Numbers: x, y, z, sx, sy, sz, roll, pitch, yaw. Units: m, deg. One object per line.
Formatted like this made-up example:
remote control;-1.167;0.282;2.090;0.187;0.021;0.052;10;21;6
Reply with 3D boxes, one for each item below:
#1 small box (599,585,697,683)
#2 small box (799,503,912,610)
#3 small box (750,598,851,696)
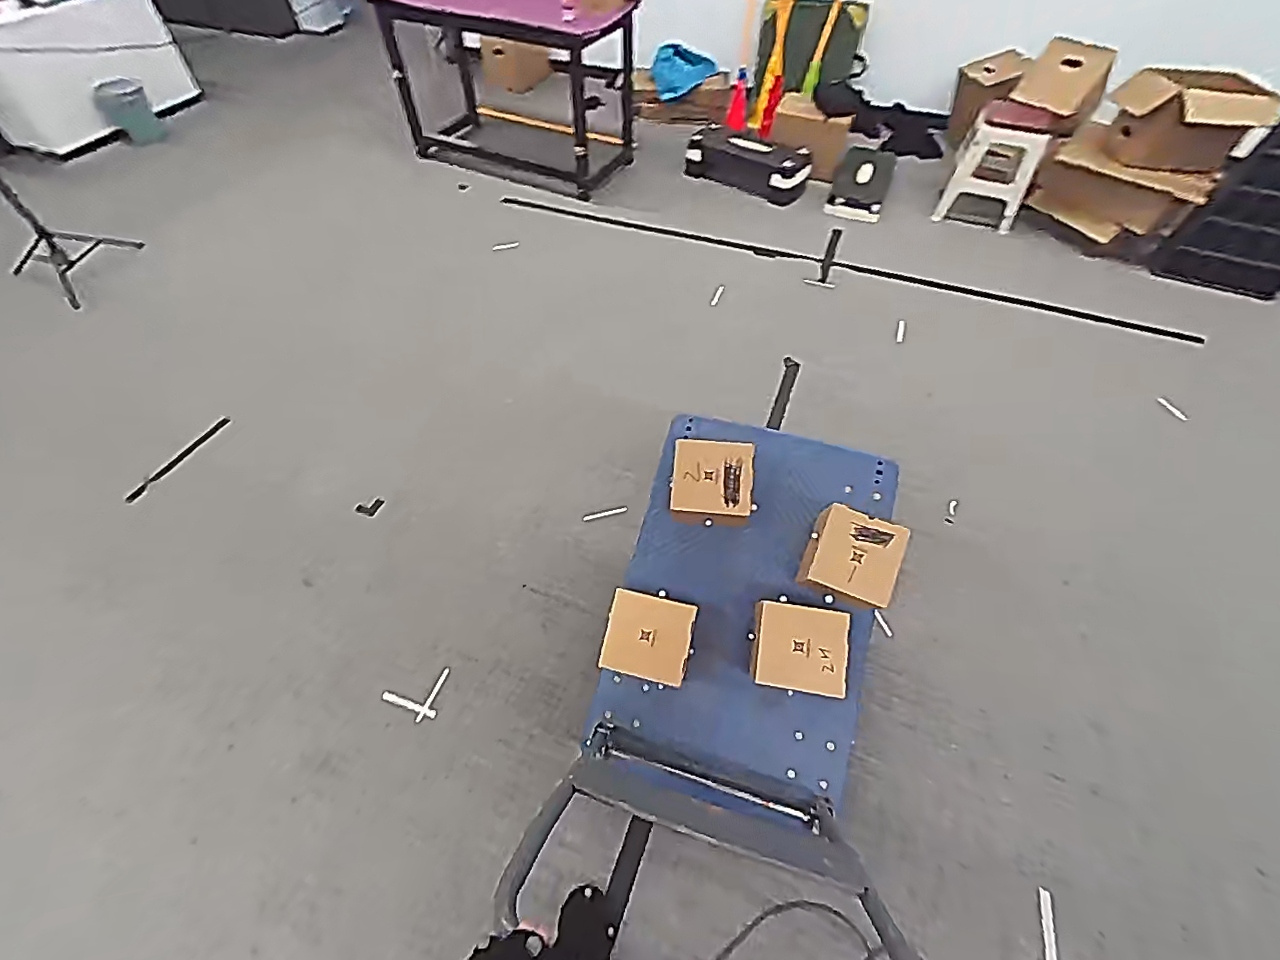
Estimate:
small box;0.025;0.339;1.196;0.179;0.176;0.168;12;77;8
small box;0.462;0.172;1.189;0.168;0.176;0.179;21;80;12
small box;0.335;0.352;1.156;0.179;0.176;0.168;8;77;9
